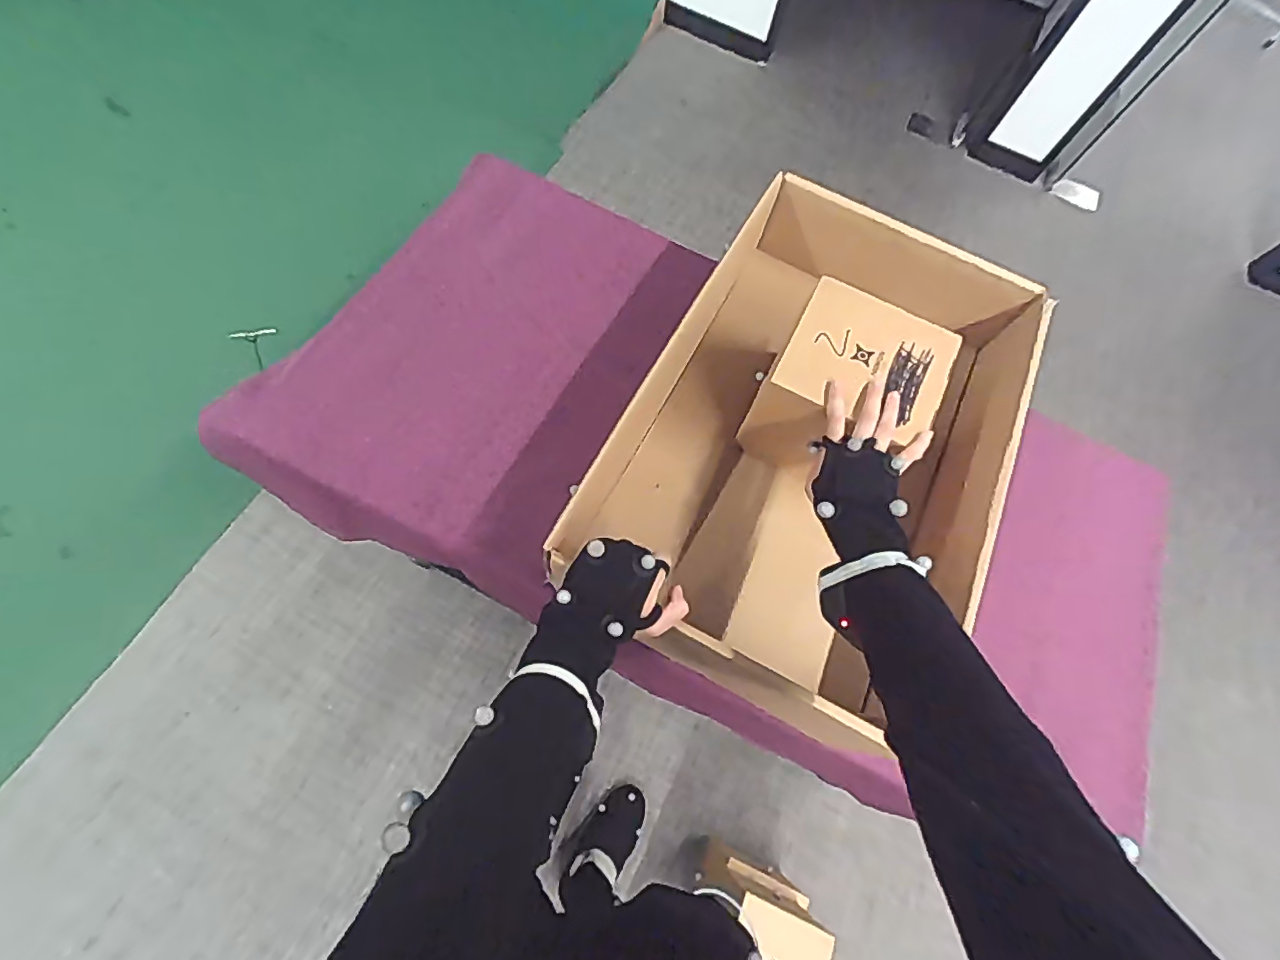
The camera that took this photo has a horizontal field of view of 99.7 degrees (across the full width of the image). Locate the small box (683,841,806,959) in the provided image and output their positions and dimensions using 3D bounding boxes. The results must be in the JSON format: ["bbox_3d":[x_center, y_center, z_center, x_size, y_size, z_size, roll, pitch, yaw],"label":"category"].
[{"bbox_3d":[0.207,0.879,1.111,0.179,0.176,0.168,26,67,5],"label":"small box"}]
